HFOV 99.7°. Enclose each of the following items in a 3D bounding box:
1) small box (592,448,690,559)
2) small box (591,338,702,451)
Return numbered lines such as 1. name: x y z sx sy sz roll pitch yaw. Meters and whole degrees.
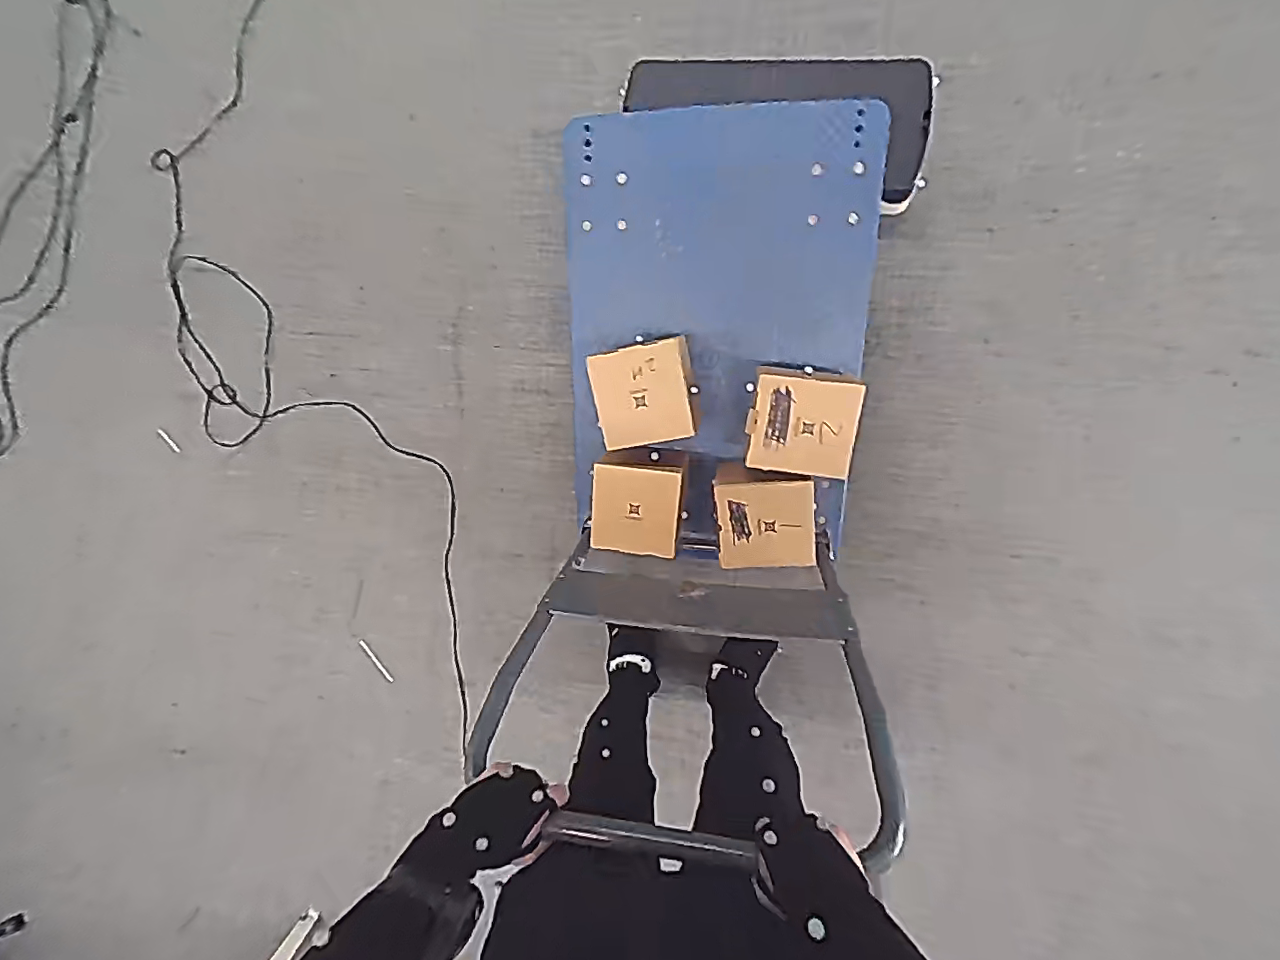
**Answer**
1. small box: 0.007 0.037 1.095 0.168 0.176 0.179 8 108 8
2. small box: 0.021 -0.167 1.031 0.168 0.176 0.179 -8 104 12
